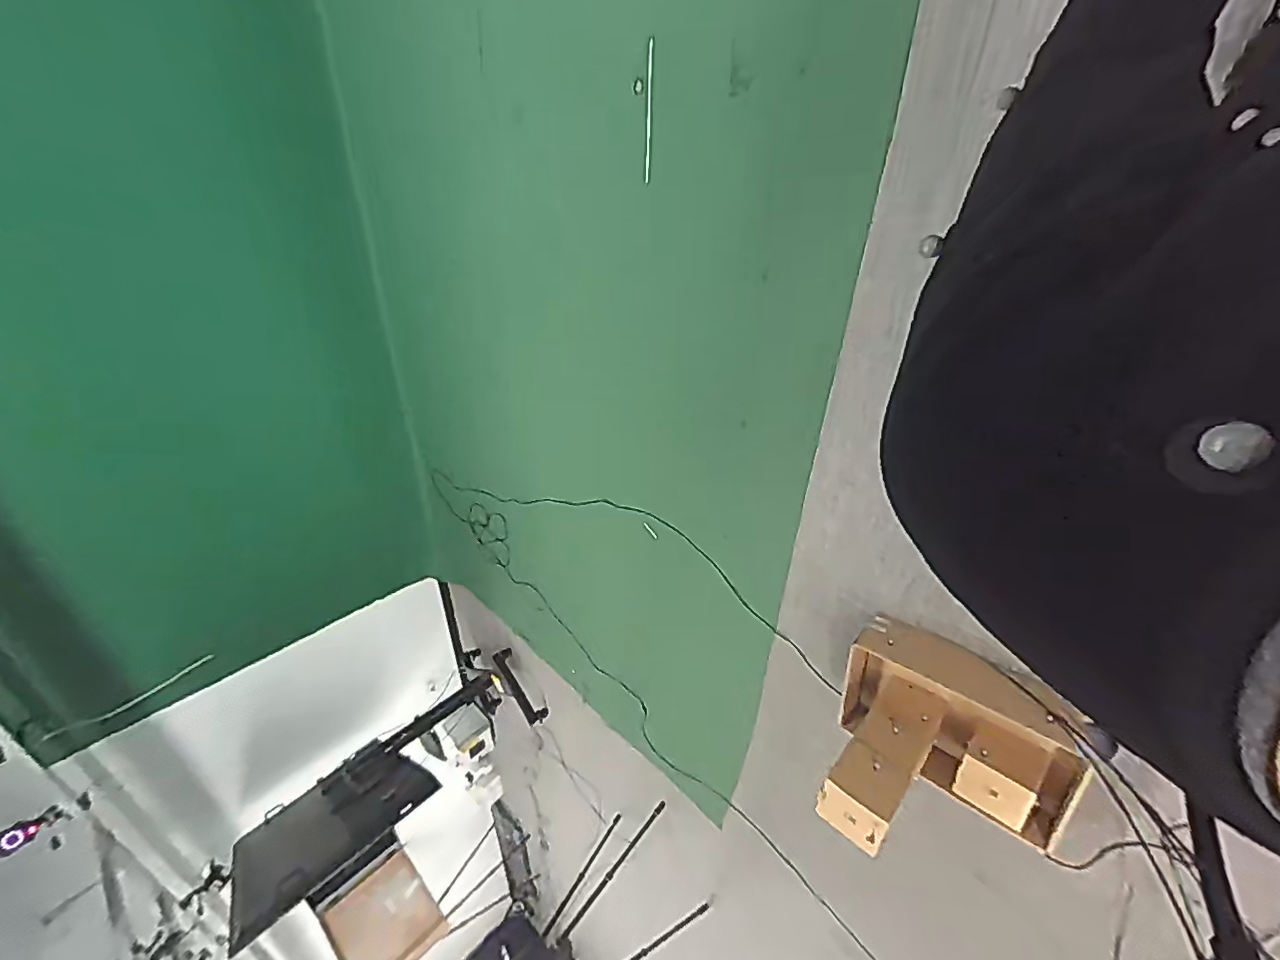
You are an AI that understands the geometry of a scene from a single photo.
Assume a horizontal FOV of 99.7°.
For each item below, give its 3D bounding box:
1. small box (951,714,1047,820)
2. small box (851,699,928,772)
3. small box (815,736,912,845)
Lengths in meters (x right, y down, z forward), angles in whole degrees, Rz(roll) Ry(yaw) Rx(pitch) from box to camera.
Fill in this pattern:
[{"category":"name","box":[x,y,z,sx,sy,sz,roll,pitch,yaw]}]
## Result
[{"category":"small box","box":[1.037,0.818,1.560,0.179,0.176,0.168,24,127,40]},{"category":"small box","box":[0.738,0.805,1.623,0.168,0.176,0.179,24,128,37]},{"category":"small box","box":[0.624,0.854,1.512,0.179,0.176,0.168,28,130,35]}]
